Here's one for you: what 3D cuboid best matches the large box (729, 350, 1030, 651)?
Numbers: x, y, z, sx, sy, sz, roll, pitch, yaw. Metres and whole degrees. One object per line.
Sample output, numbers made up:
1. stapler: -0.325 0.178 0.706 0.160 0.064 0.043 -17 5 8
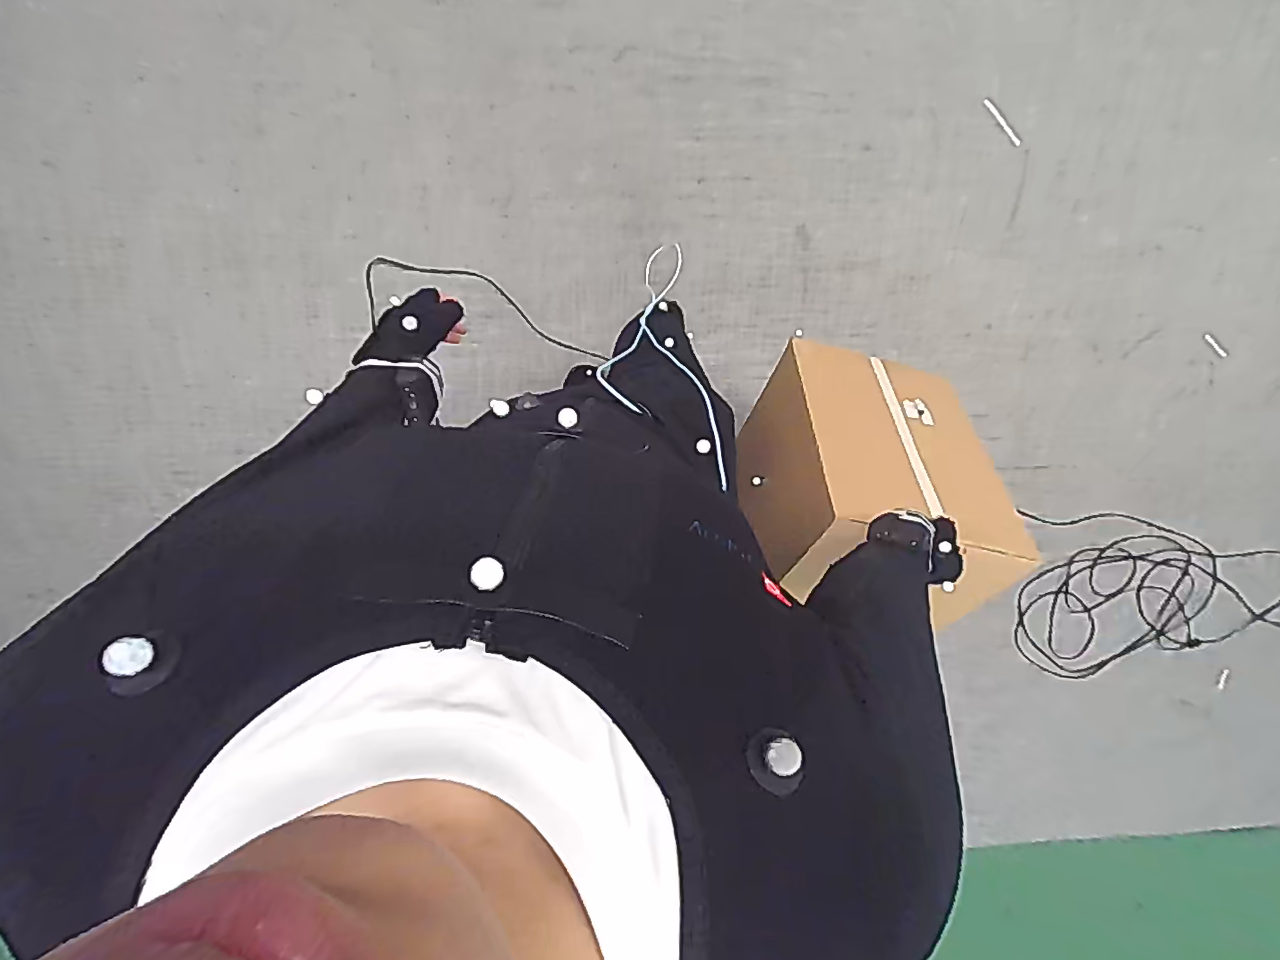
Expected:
1. large box: 0.366 0.040 0.962 0.320 0.408 0.320 13 137 -10
